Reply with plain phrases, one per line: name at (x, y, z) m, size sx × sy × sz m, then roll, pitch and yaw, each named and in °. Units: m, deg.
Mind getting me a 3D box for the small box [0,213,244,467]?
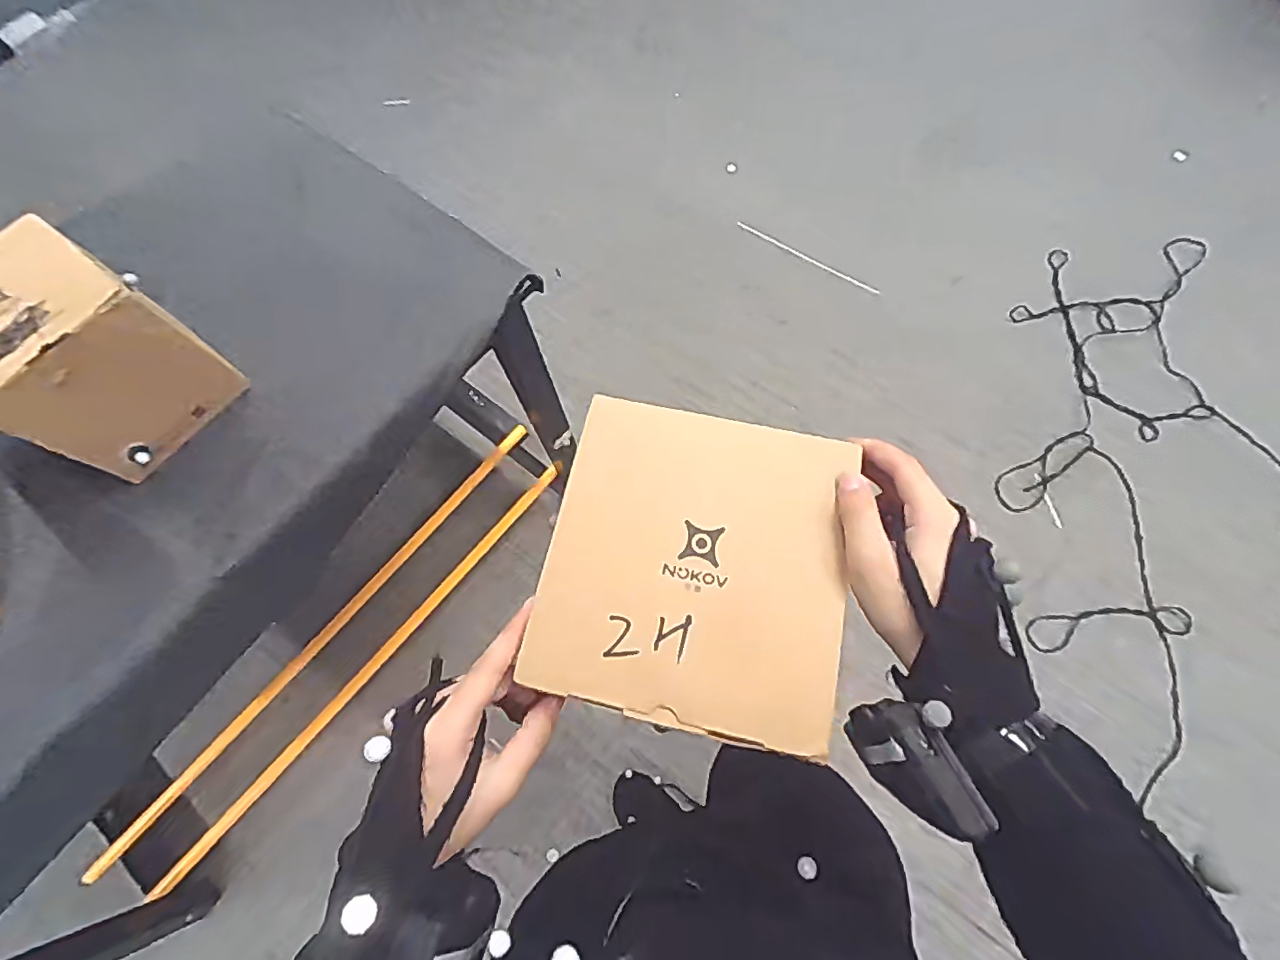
small box at (-0.588, -0.135, 0.581) m, size 0.179 × 0.176 × 0.168 m, roll 35°, pitch 73°, yaw 16°
